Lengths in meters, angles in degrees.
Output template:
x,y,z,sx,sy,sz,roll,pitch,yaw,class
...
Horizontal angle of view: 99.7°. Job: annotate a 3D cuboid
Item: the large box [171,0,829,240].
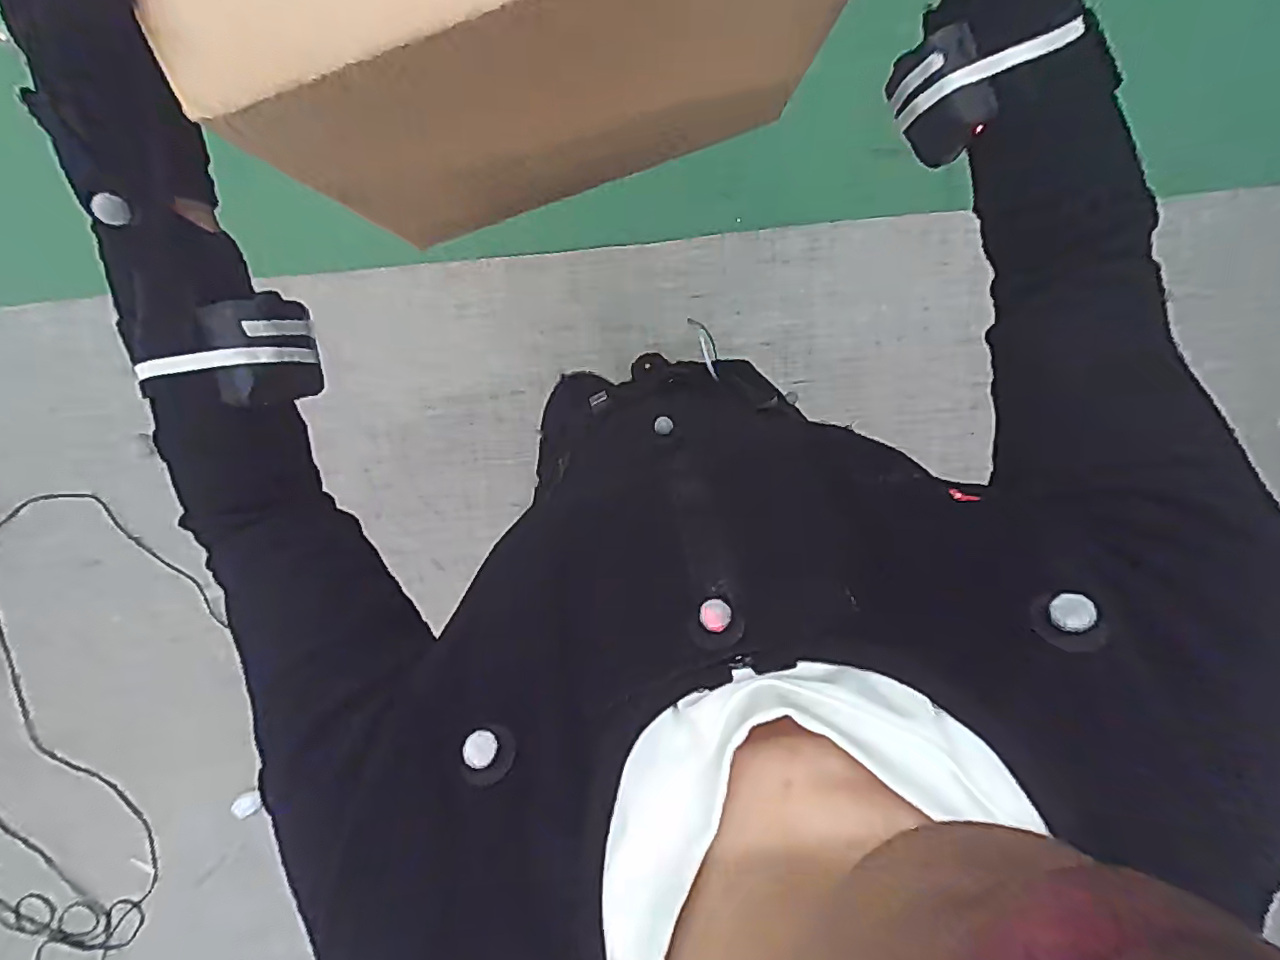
x,y,z,sx,sy,sz,roll,pitch,yaw,class
-0.093,-0.430,0.395,0.408,0.320,0.320,-20,102,2,large box
